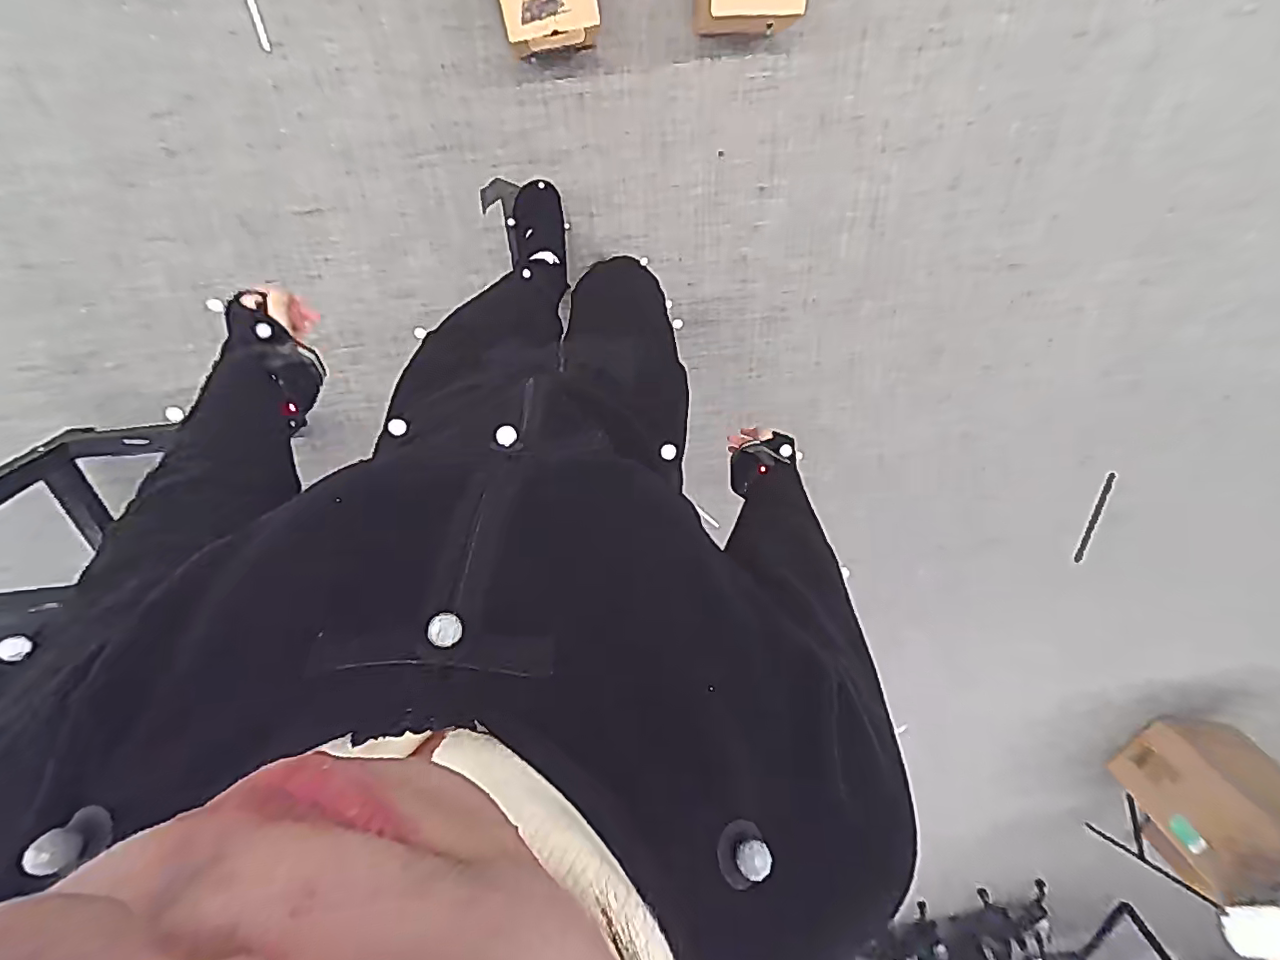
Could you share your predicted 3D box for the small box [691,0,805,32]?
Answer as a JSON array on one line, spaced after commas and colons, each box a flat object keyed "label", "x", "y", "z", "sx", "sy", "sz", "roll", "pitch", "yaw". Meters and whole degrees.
[{"label": "small box", "x": 0.198, "y": -0.940, "z": 0.986, "sx": 0.179, "sy": 0.176, "sz": 0.168, "roll": -4, "pitch": 121, "yaw": -5}]

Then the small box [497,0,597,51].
[{"label": "small box", "x": -0.174, "y": -0.891, "z": 0.964, "sx": 0.168, "sy": 0.176, "sz": 0.179, "roll": -12, "pitch": 121, "yaw": -1}]
